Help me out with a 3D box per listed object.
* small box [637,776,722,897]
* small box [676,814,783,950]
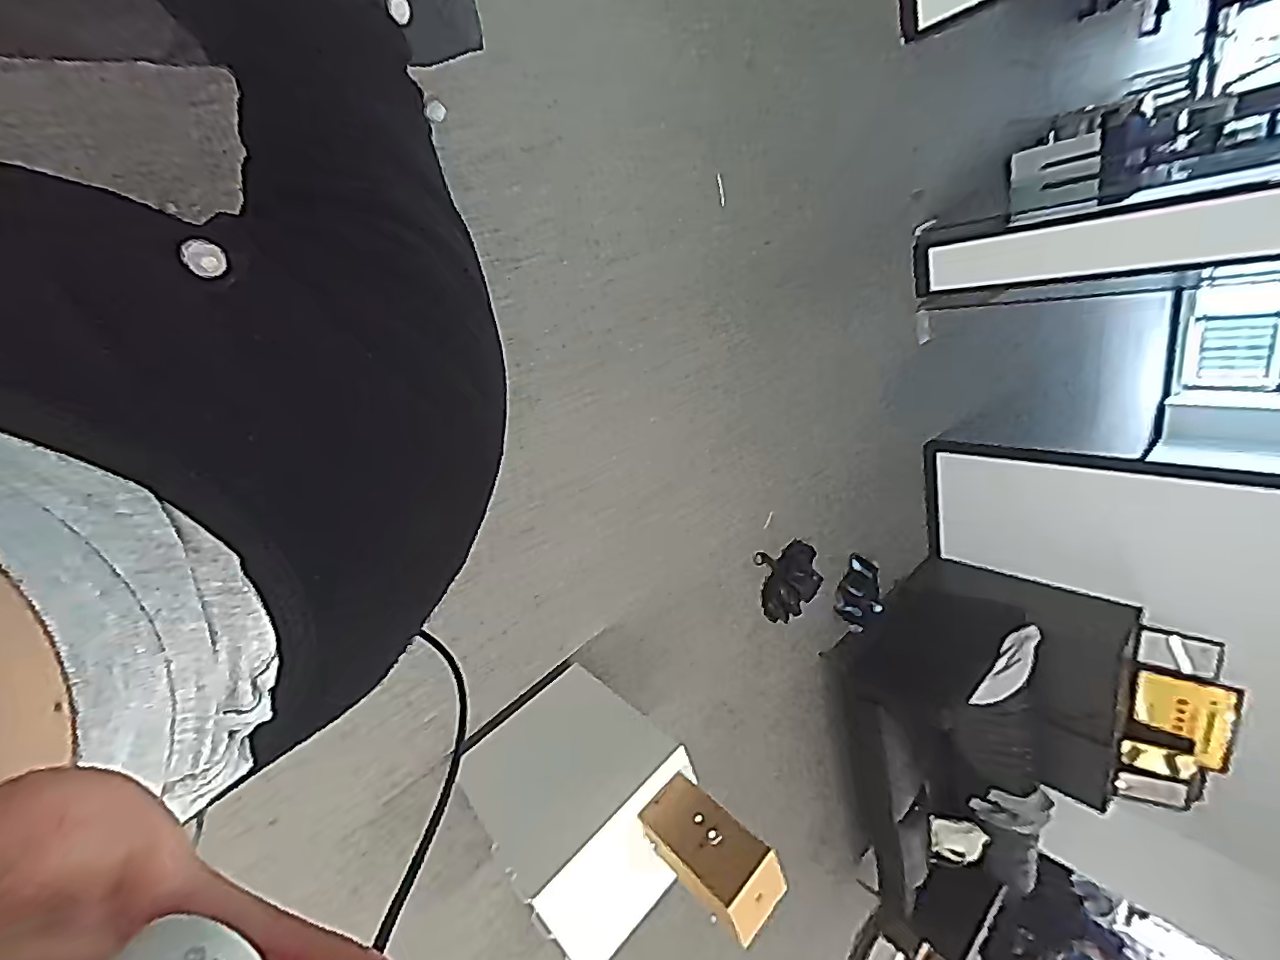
[{"bbox_3d":[0.118,0.936,1.435,0.168,0.176,0.179,-33,119,-29],"label":"small box"},{"bbox_3d":[0.215,0.959,1.307,0.168,0.176,0.179,-36,119,-29],"label":"small box"}]
